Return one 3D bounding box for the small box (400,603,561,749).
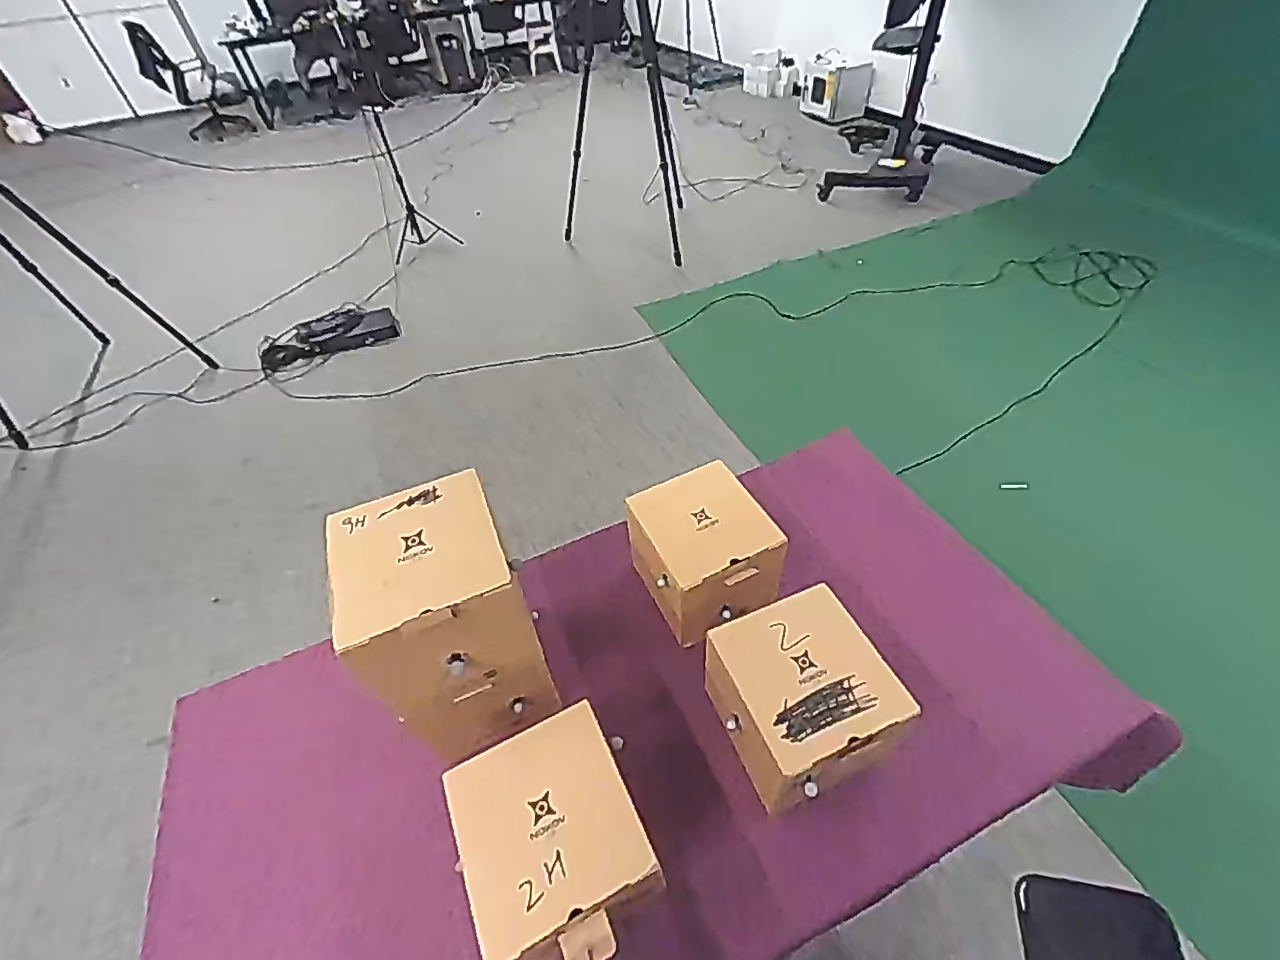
[{"bbox_3d":[-0.217,0.236,0.730,0.168,0.176,0.179,-21,49,-14],"label":"small box"}]

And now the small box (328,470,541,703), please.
[{"bbox_3d":[-0.223,0.125,0.608,0.168,0.176,0.179,-20,50,-14],"label":"small box"}]

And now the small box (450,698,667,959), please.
[{"bbox_3d":[-0.083,0.379,0.585,0.168,0.176,0.179,-24,50,-14],"label":"small box"}]
